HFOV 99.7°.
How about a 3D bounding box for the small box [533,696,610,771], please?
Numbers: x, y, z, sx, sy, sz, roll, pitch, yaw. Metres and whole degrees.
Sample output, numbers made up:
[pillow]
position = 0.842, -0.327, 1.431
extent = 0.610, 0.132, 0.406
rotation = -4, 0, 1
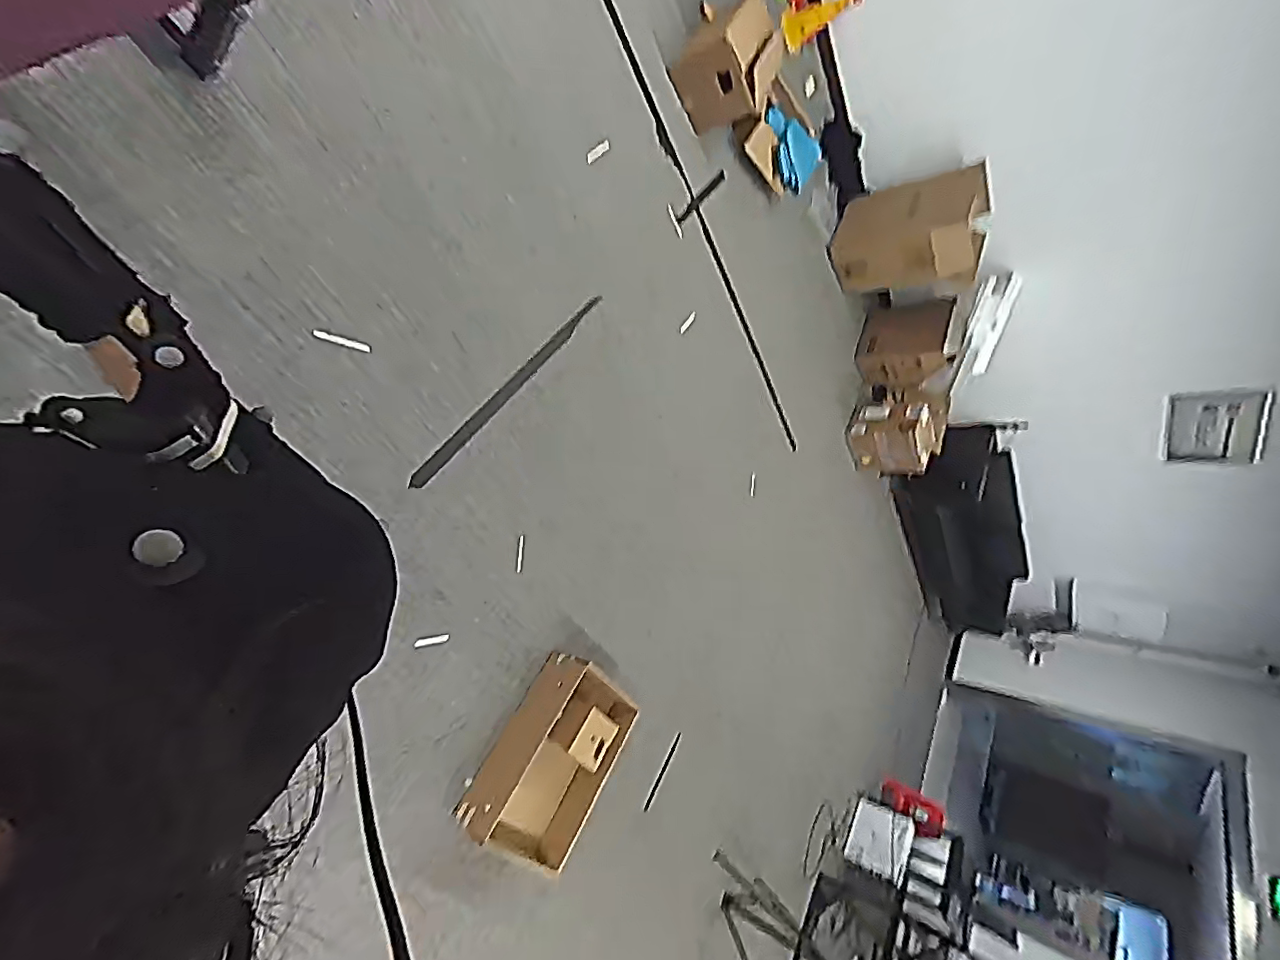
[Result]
[small box]
position = -0.246, 0.907, 1.947
extent = 0.168, 0.176, 0.179
rotation = -57, 129, -29
